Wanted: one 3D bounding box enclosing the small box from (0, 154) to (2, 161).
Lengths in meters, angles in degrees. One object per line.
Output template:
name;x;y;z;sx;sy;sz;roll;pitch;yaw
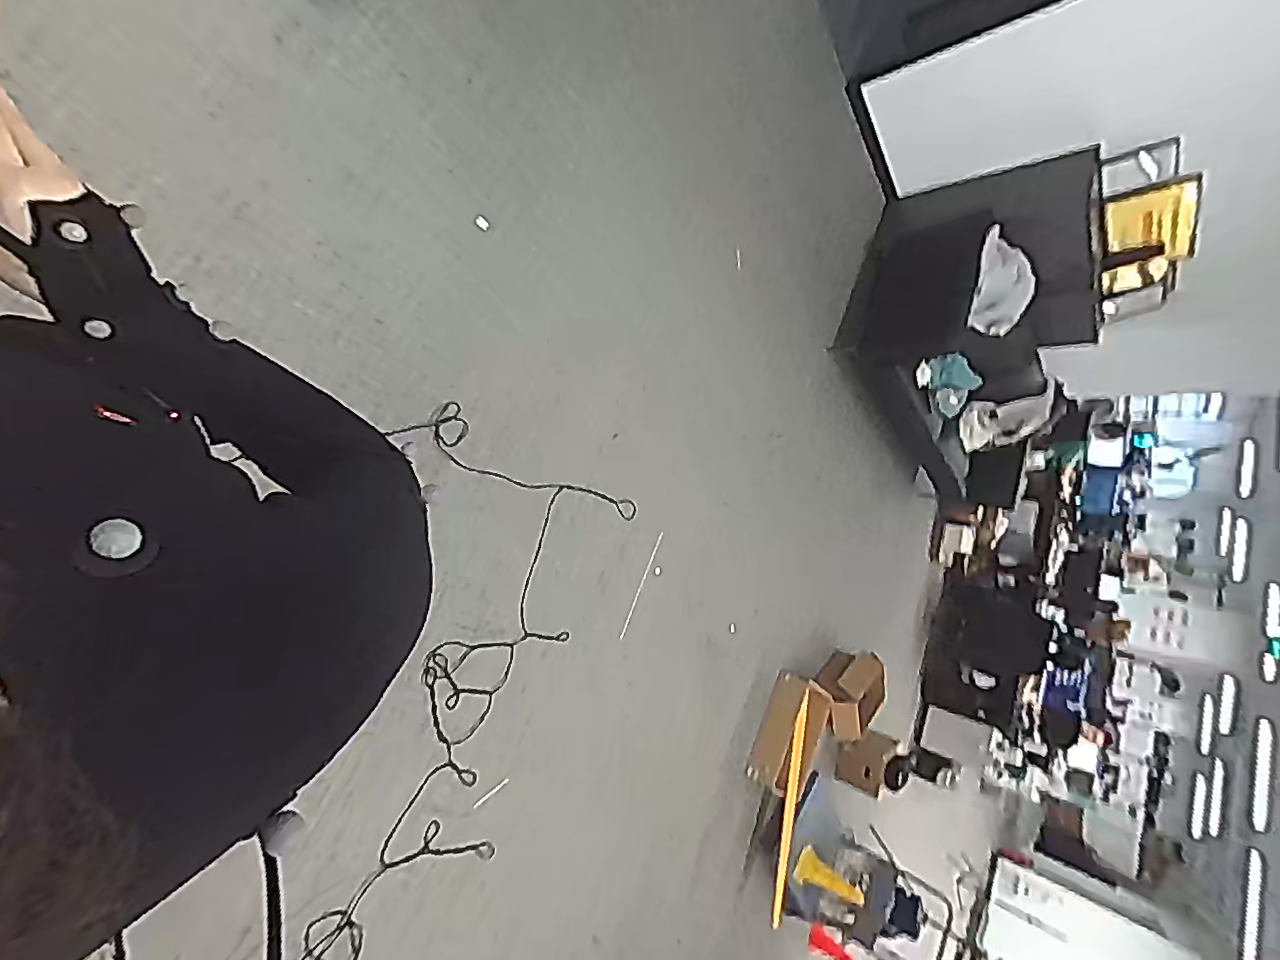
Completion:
small box;-0.415;-0.246;0.225;0.179;0.176;0.168;-11;110;-47
